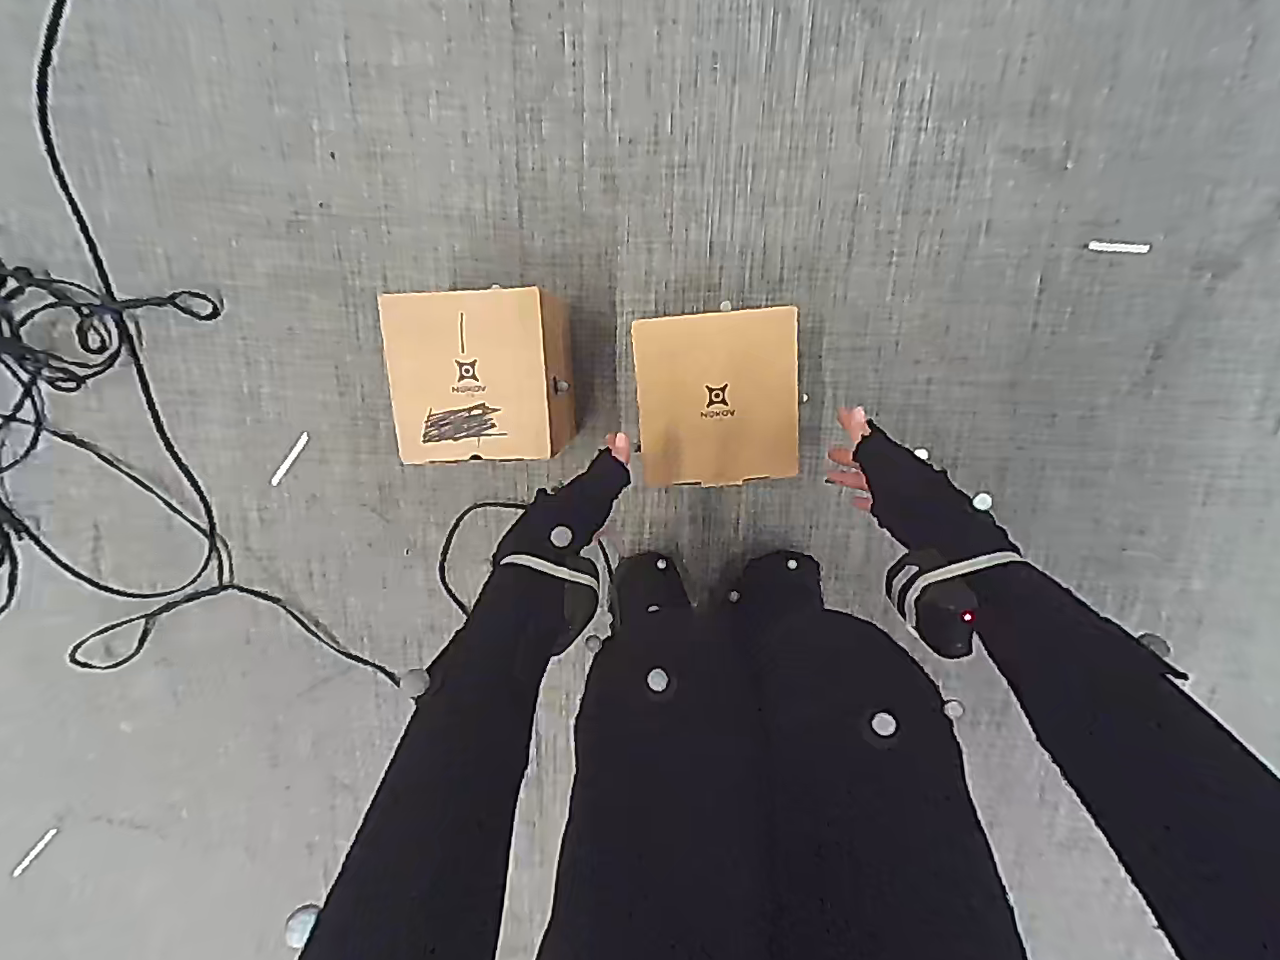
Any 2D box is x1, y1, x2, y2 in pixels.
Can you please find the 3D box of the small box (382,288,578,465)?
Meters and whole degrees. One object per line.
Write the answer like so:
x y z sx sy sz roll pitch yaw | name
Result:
-0.168 -0.121 0.626 0.168 0.176 0.179 -1 103 2 | small box

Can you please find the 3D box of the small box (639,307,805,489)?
0.086 -0.098 0.624 0.168 0.176 0.179 -4 105 3 | small box
